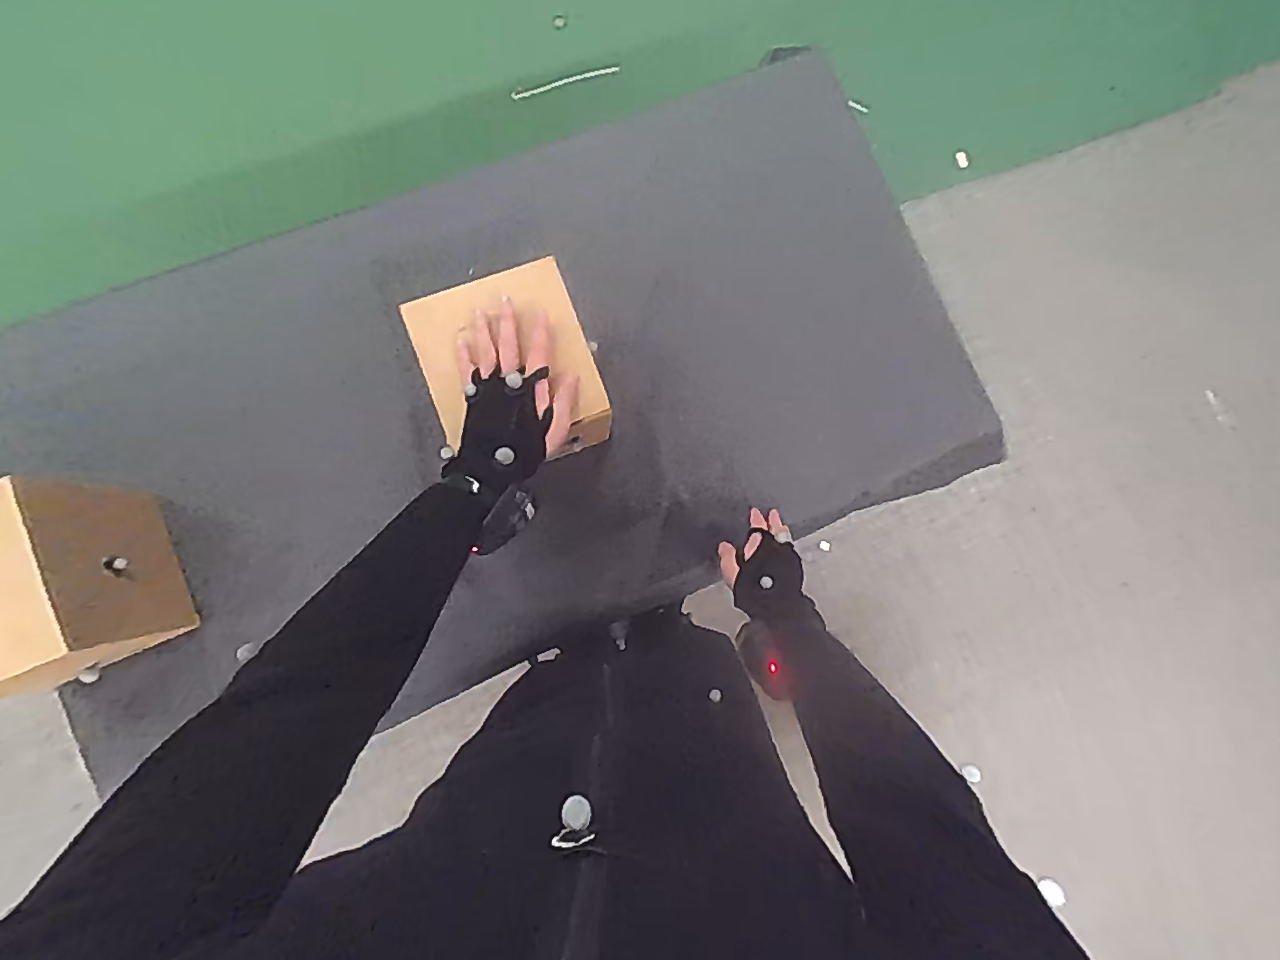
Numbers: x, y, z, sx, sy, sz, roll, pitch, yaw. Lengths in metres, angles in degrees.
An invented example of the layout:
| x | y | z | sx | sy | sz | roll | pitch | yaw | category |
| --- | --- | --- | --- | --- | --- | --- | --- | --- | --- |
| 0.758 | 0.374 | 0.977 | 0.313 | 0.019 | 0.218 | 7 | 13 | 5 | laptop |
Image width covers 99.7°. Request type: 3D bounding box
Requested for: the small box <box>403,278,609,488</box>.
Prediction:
| x | y | z | sx | sy | sz | roll | pitch | yaw | category |
| --- | --- | --- | --- | --- | --- | --- | --- | --- | --- |
| -0.143 | -0.097 | 0.632 | 0.168 | 0.176 | 0.179 | -22 | 85 | -8 | small box |

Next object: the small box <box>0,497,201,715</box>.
| x | y | z | sx | sy | sz | roll | pitch | yaw | category |
| --- | --- | --- | --- | --- | --- | --- | --- | --- | --- |
| -0.617 | 0.134 | 0.560 | 0.168 | 0.176 | 0.179 | -23 | 86 | -7 | small box |
